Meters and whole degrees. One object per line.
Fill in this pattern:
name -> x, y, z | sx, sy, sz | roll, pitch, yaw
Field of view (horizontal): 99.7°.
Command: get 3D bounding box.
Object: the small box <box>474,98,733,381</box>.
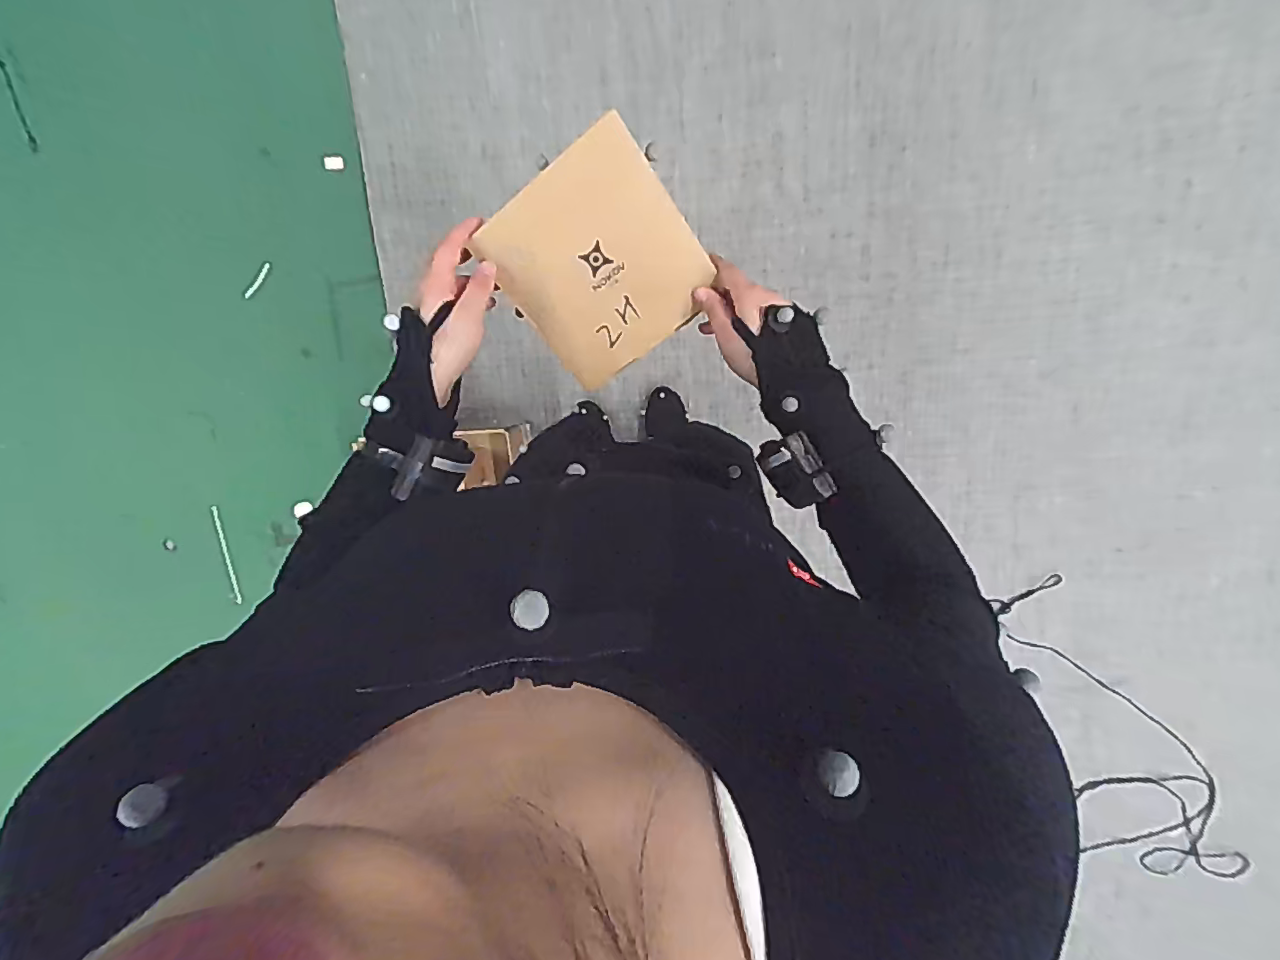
small box -> -0.034, -0.236, 0.545 | 0.168, 0.176, 0.179 | -33, 118, 15

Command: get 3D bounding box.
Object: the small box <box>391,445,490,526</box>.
small box -> -0.506, 0.011, 1.394 | 0.179, 0.176, 0.168 | -5, 105, 3
